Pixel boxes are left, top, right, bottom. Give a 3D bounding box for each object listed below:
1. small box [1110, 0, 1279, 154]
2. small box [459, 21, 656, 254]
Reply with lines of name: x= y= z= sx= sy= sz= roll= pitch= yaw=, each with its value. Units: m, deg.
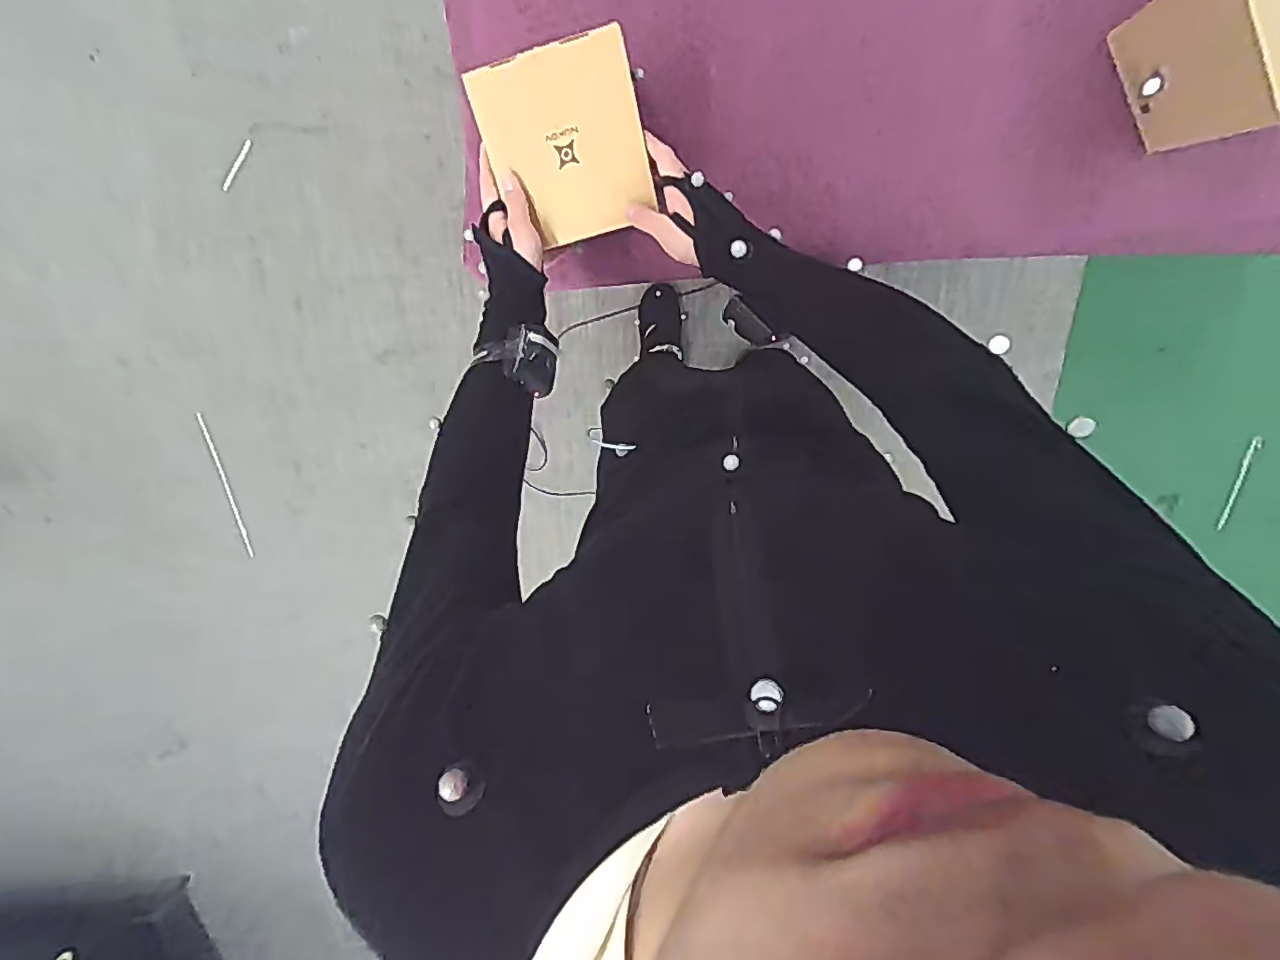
small box: x=0.705 y=-0.512 z=0.613 sx=0.179 sy=0.176 sz=0.168 roll=-35 pitch=108 yaw=13
small box: x=-0.077 y=-0.379 z=0.627 sx=0.168 sy=0.176 sz=0.179 roll=-12 pitch=115 yaw=8
